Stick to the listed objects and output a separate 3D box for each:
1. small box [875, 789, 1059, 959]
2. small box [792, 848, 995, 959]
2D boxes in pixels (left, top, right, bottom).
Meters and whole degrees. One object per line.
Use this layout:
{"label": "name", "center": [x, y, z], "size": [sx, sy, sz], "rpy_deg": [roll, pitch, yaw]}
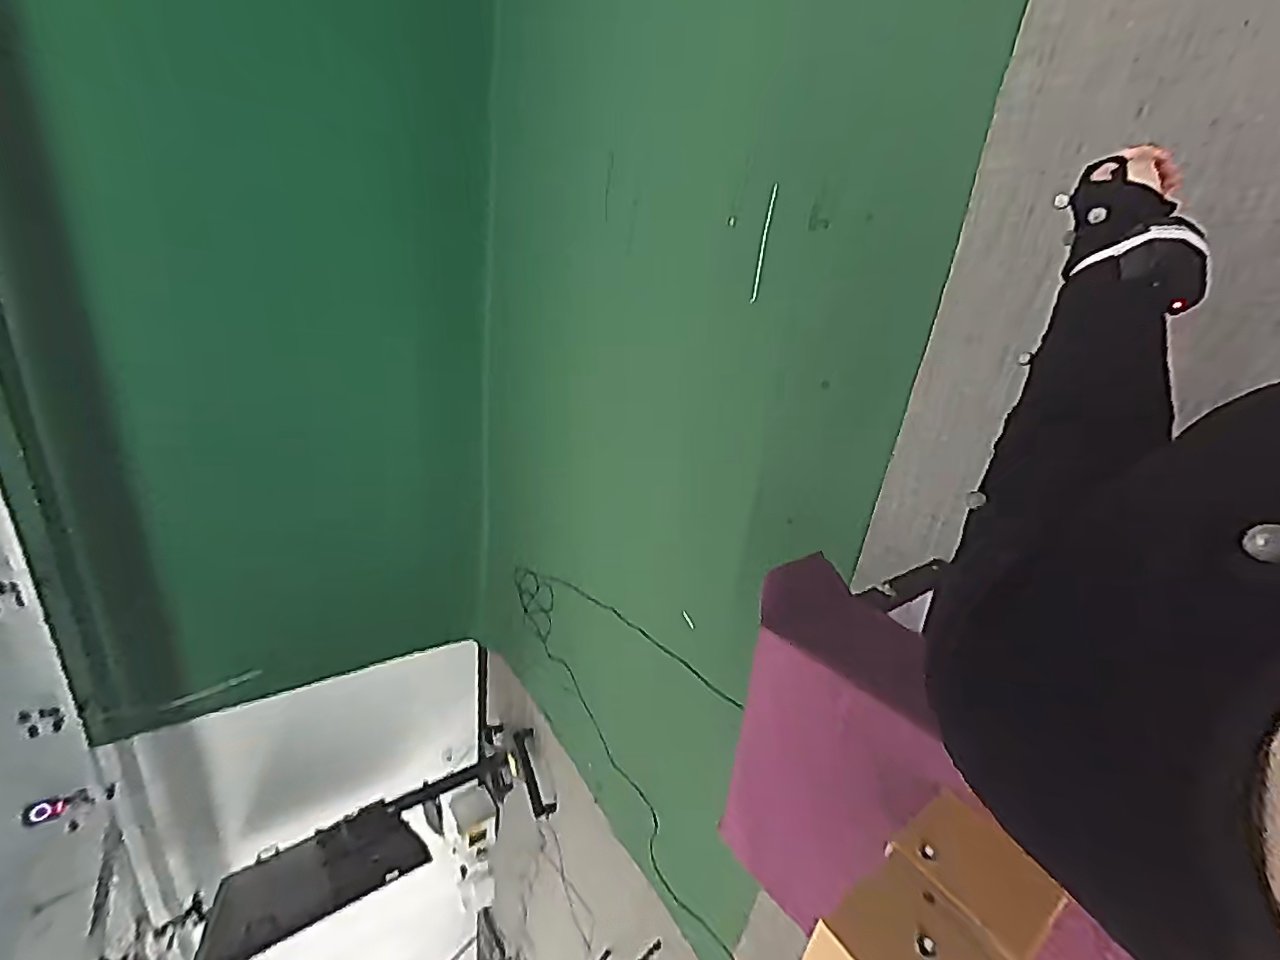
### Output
{"label": "small box", "center": [0.444, 0.587, 0.764], "size": [0.179, 0.176, 0.168], "rpy_deg": [32, 123, 48]}
{"label": "small box", "center": [0.311, 0.613, 0.671], "size": [0.168, 0.176, 0.179], "rpy_deg": [35, 125, 46]}
